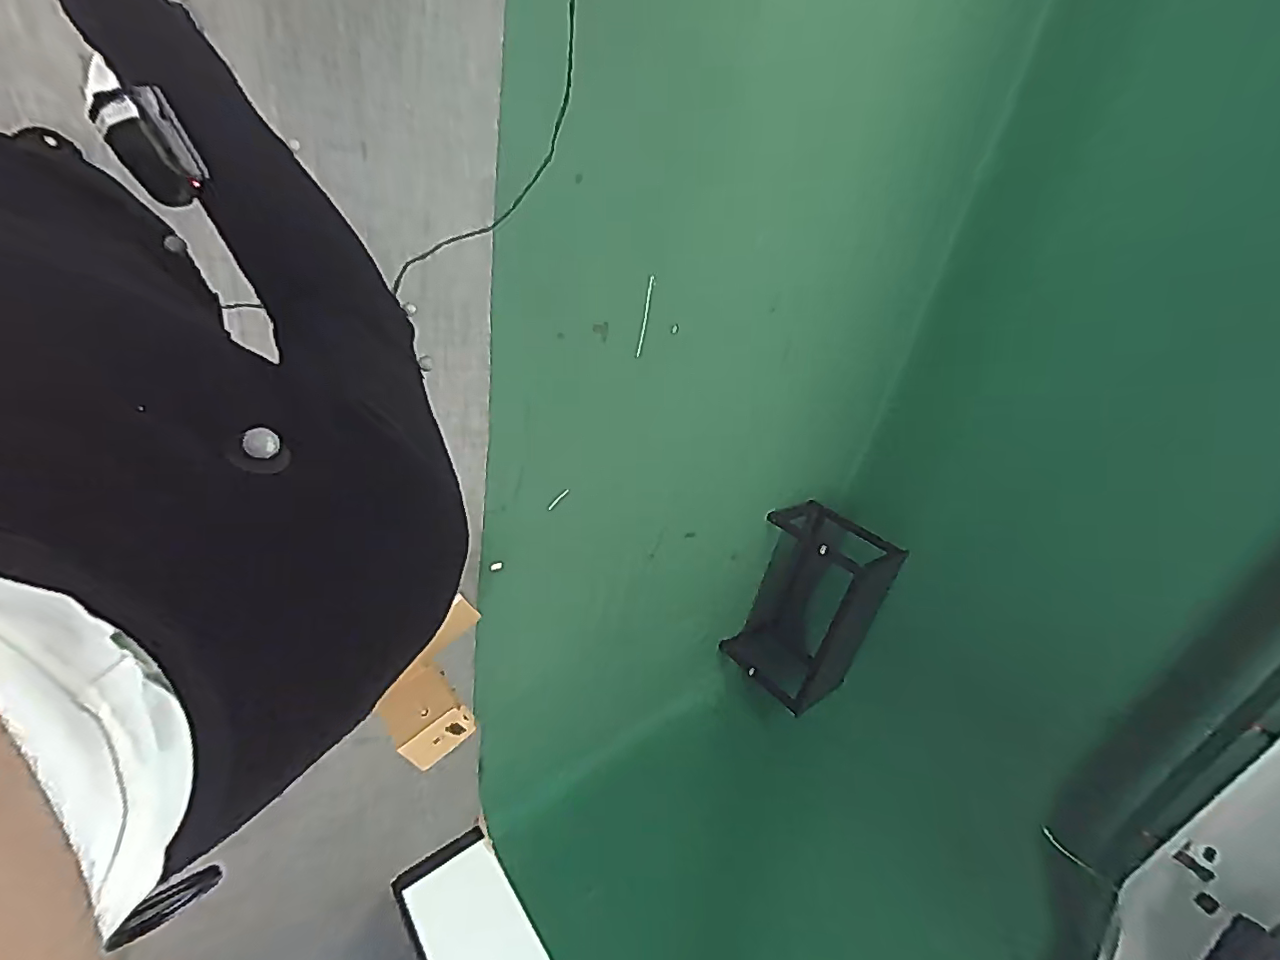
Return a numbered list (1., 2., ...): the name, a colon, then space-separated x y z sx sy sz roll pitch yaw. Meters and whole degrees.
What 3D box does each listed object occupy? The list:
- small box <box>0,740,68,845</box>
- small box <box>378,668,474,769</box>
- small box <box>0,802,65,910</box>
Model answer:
1. small box: -1.308 0.670 1.111 0.168 0.176 0.179 -7 121 -43
2. small box: -0.620 0.683 1.564 0.179 0.176 0.168 -35 138 -22
3. small box: -1.206 0.742 1.008 0.168 0.176 0.179 -8 123 -43
